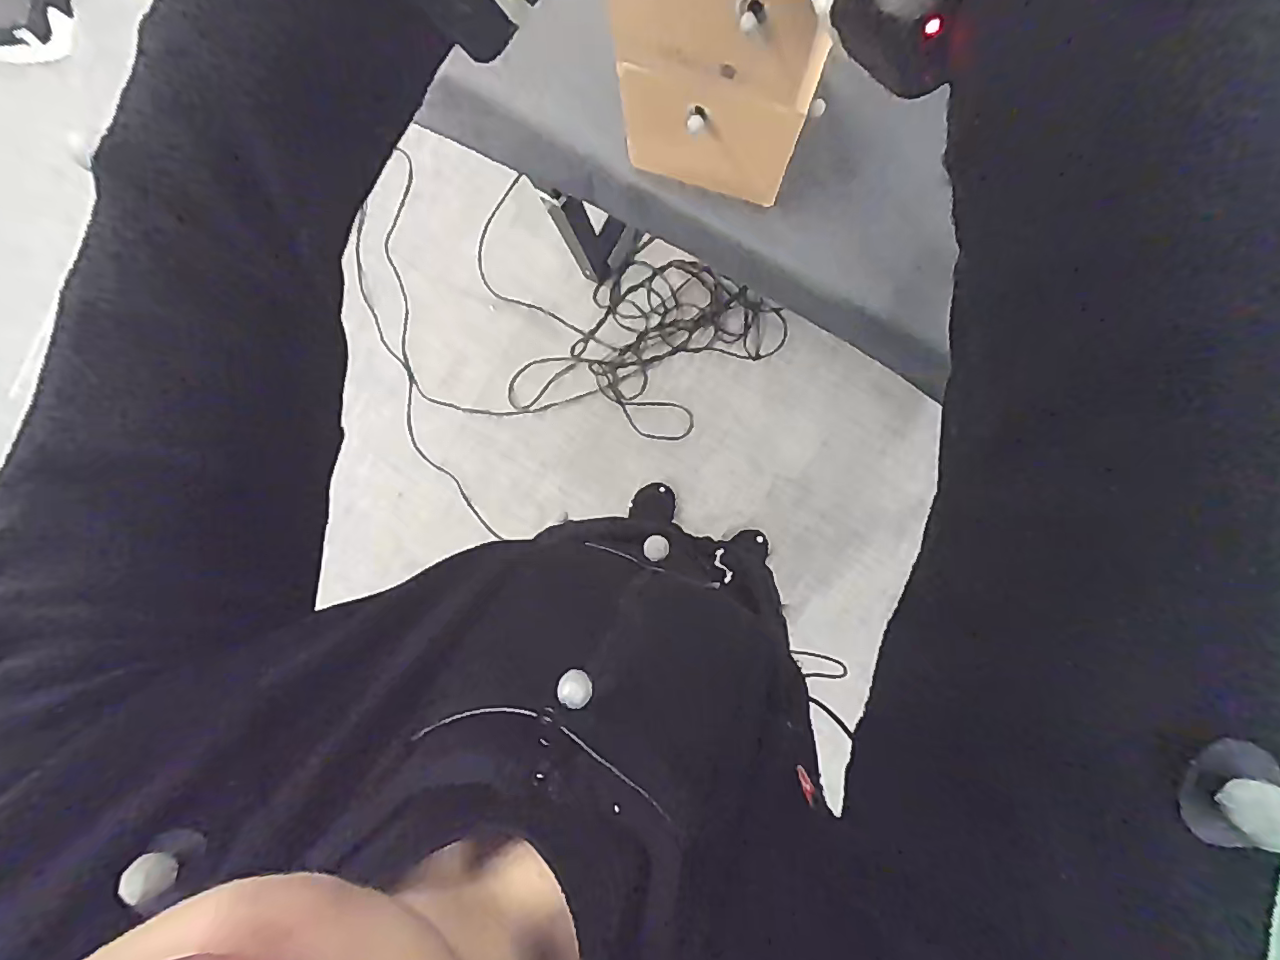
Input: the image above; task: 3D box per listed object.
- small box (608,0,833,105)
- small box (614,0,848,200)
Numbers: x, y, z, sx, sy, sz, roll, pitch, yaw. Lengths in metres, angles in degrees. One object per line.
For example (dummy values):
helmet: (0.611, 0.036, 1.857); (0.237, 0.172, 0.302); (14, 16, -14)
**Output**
small box: (0.075, -0.416, 0.379); (0.168, 0.176, 0.179); (22, 91, 3)
small box: (0.090, -0.413, 0.541); (0.179, 0.176, 0.168); (19, 92, 4)
